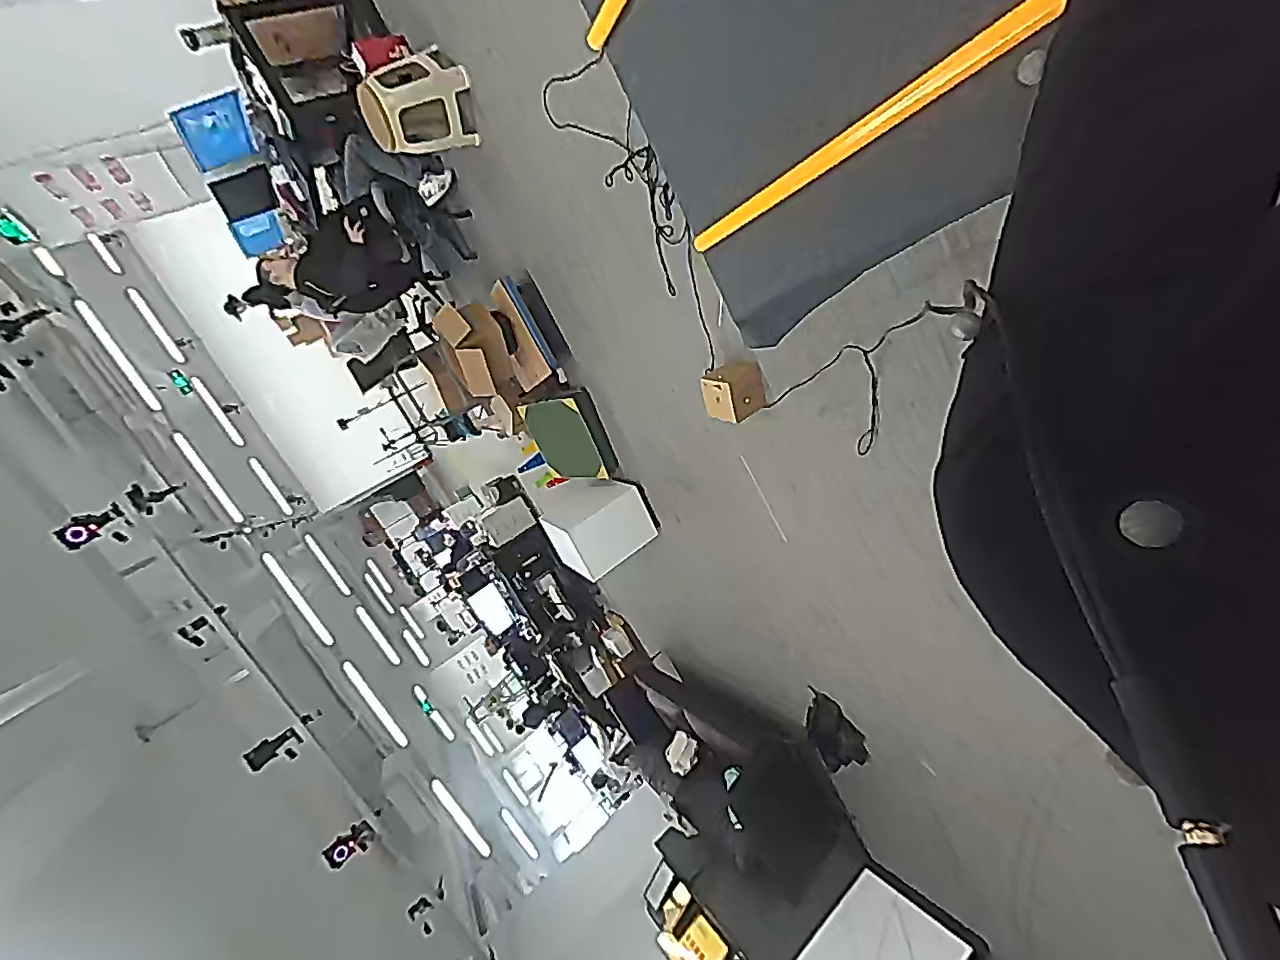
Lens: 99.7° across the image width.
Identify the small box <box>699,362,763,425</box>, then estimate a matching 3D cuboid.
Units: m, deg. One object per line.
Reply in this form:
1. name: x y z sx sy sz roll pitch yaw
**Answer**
1. small box: 0.364 -0.345 2.129 0.168 0.176 0.179 25 142 51
